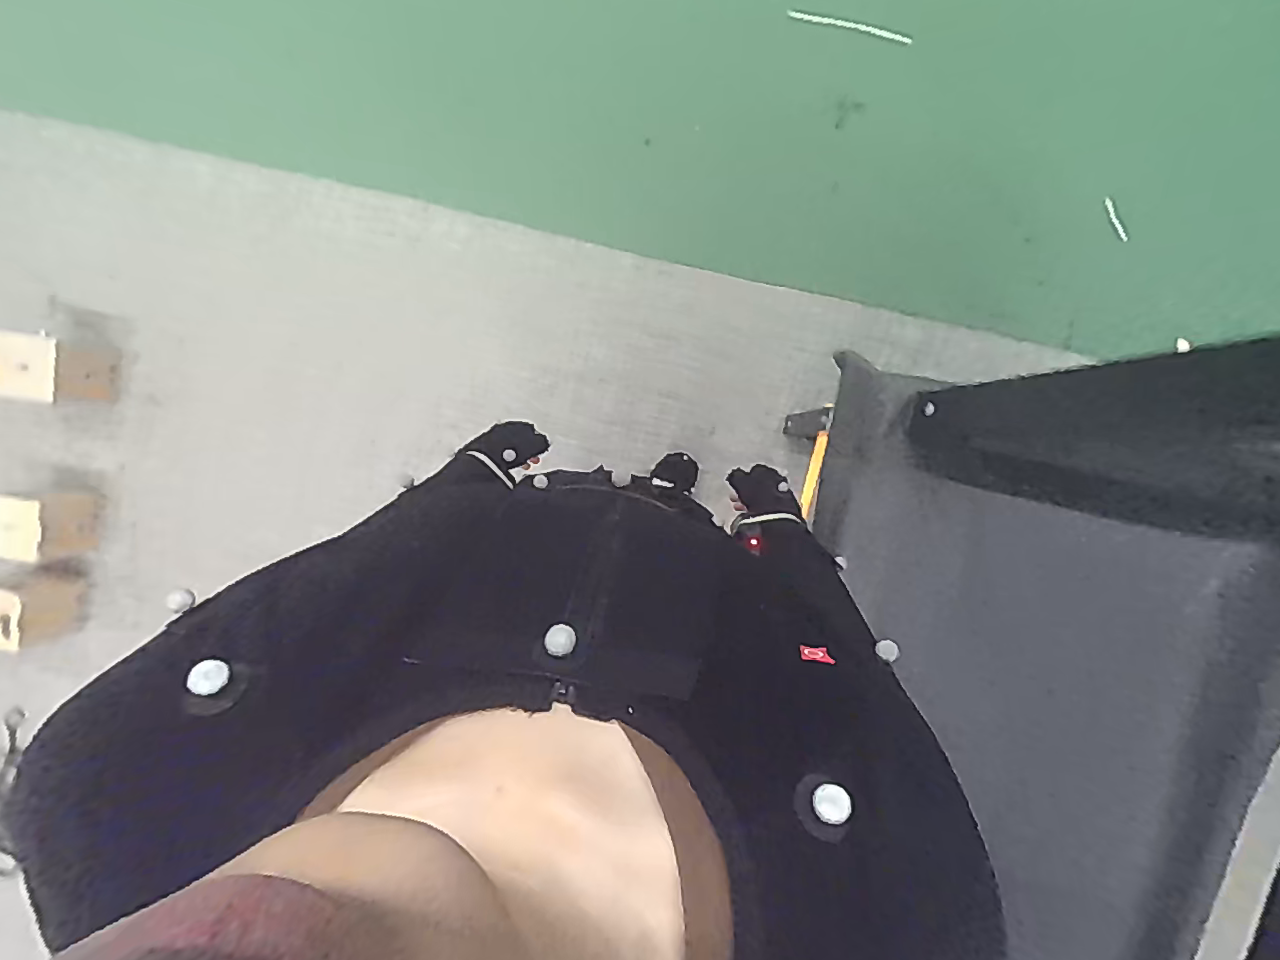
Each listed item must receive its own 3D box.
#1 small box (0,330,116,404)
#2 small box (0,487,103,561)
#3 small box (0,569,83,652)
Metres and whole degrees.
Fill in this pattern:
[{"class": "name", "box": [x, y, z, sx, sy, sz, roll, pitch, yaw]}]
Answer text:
[{"class": "small box", "box": [-1.576, -0.299, 1.458, 0.179, 0.176, 0.168, 9, 94, 2]}, {"class": "small box", "box": [-1.663, 0.116, 1.499, 0.179, 0.176, 0.168, 8, 96, 1]}, {"class": "small box", "box": [-1.738, 0.359, 1.524, 0.179, 0.176, 0.168, 11, 96, 3]}]
